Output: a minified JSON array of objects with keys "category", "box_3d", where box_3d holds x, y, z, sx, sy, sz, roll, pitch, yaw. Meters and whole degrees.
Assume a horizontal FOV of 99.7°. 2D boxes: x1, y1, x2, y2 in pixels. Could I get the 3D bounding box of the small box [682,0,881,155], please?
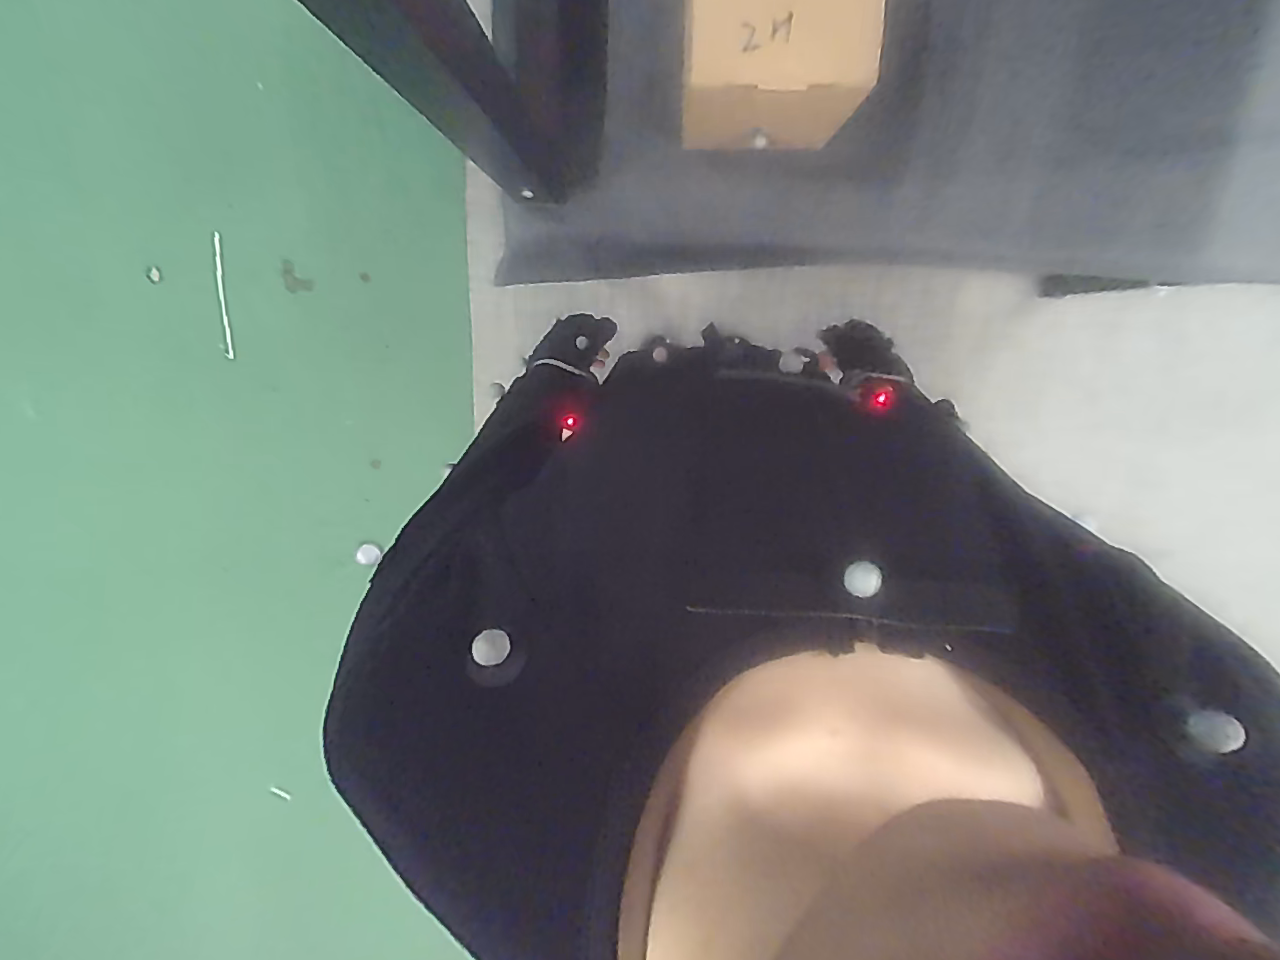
[{"category":"small box","box_3d":[0.129,-0.452,0.541,0.168,0.176,0.179,1,104,2]}]
